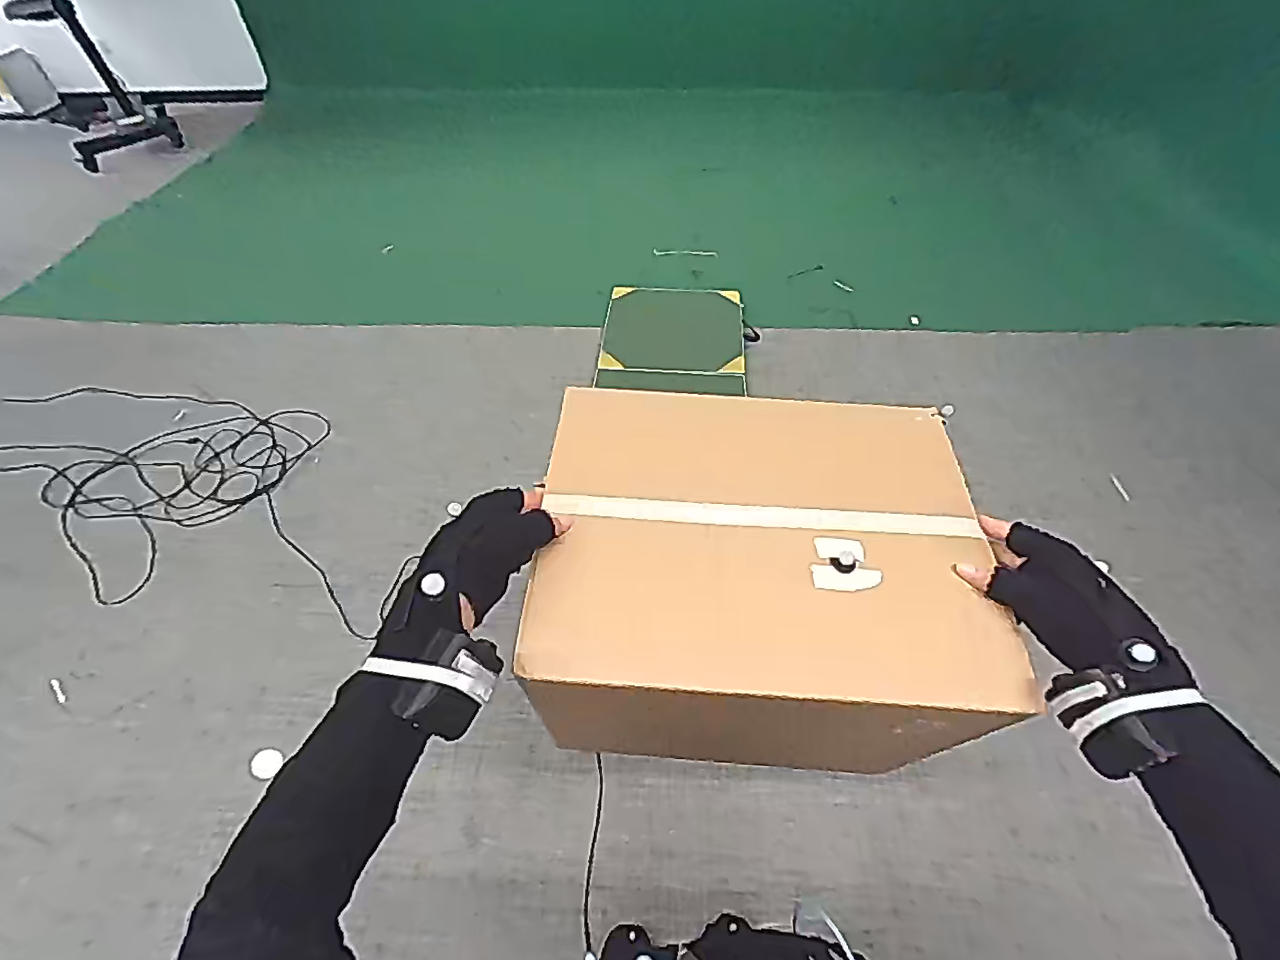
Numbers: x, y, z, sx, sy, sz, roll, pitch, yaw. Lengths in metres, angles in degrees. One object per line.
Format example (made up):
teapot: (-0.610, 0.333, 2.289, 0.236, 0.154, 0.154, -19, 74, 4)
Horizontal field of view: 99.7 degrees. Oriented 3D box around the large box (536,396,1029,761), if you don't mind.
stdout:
large box: (0.113, 0.127, 0.634, 0.408, 0.320, 0.320, 4, 55, 0)
